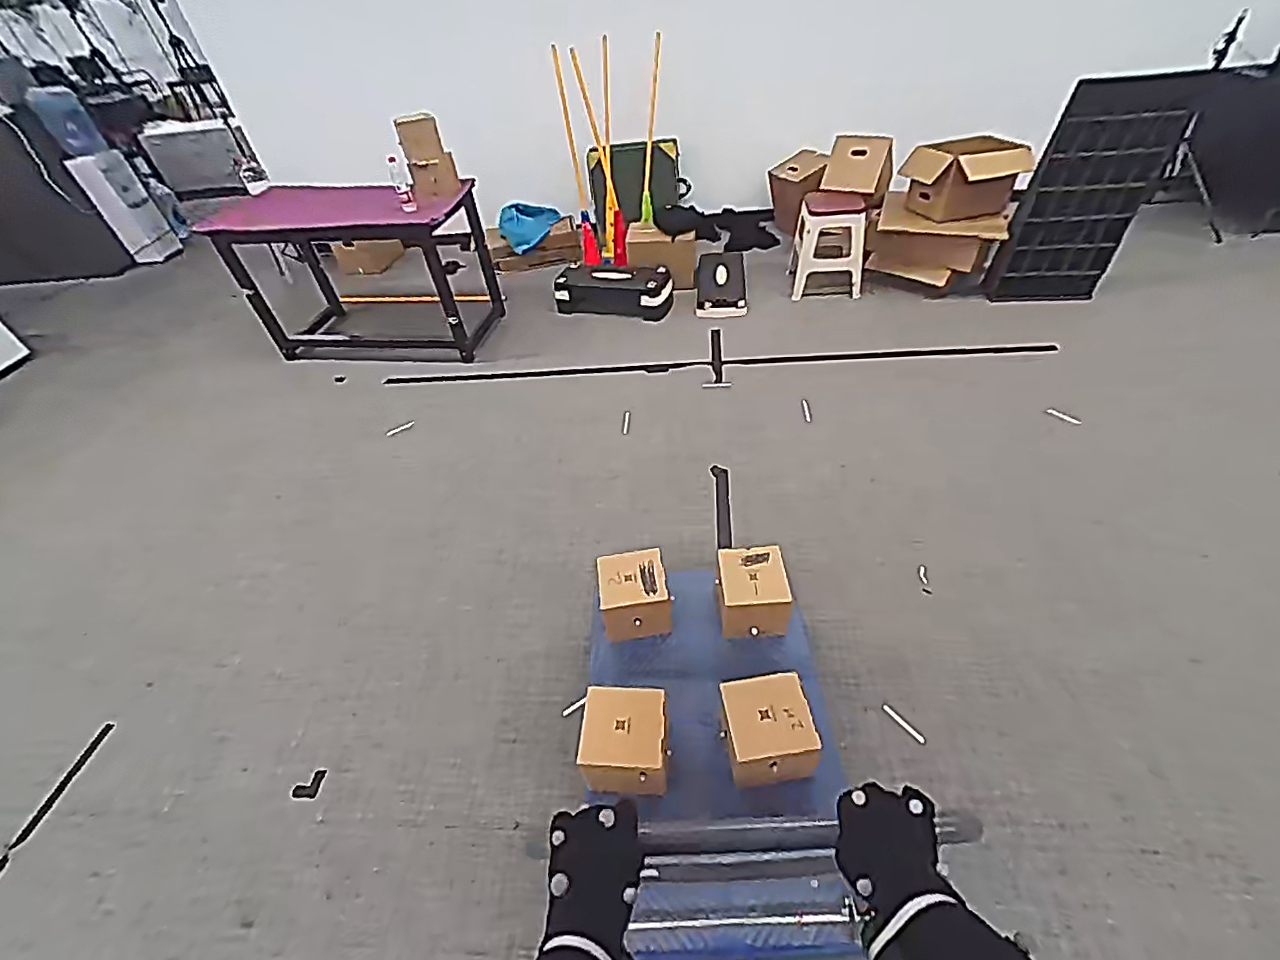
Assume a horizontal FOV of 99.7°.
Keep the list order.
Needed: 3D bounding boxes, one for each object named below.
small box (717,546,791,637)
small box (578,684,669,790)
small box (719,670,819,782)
[{"bbox_3d":[0.297,0.298,1.449,0.168,0.176,0.179,-5,45,3],"label":"small box"},{"bbox_3d":[-0.029,0.577,1.210,0.179,0.176,0.168,0,44,6],"label":"small box"},{"bbox_3d":[0.277,0.548,1.197,0.179,0.176,0.168,-9,44,-1],"label":"small box"}]
